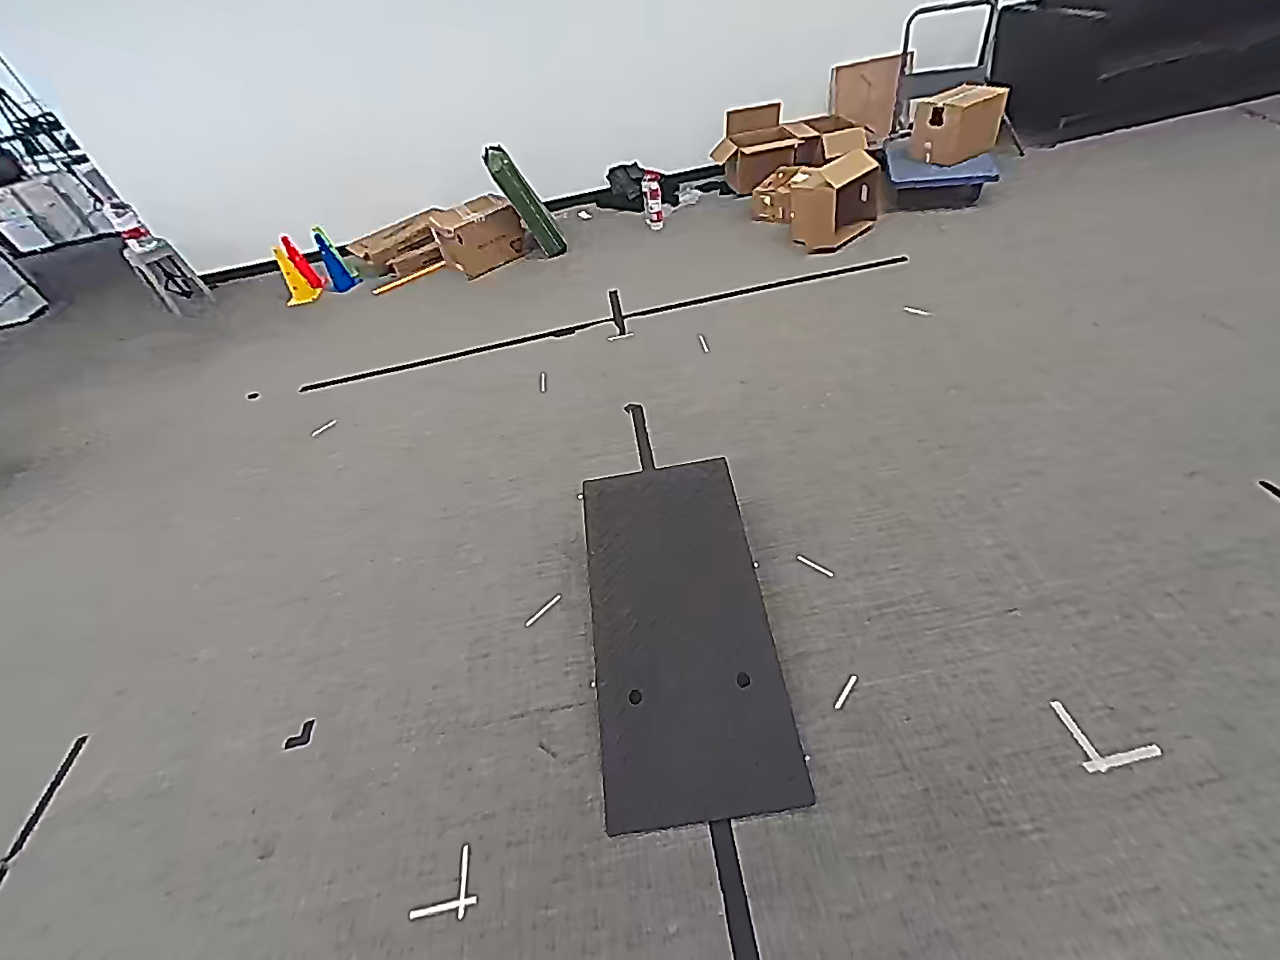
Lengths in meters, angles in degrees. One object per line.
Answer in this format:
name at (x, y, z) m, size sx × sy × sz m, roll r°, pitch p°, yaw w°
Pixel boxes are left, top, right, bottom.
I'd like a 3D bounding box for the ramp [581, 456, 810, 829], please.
ramp at (0.102, 0.371, 1.535) m, size 0.509 × 0.206 × 0.991 m, roll -10°, pitch 46°, yaw 0°
